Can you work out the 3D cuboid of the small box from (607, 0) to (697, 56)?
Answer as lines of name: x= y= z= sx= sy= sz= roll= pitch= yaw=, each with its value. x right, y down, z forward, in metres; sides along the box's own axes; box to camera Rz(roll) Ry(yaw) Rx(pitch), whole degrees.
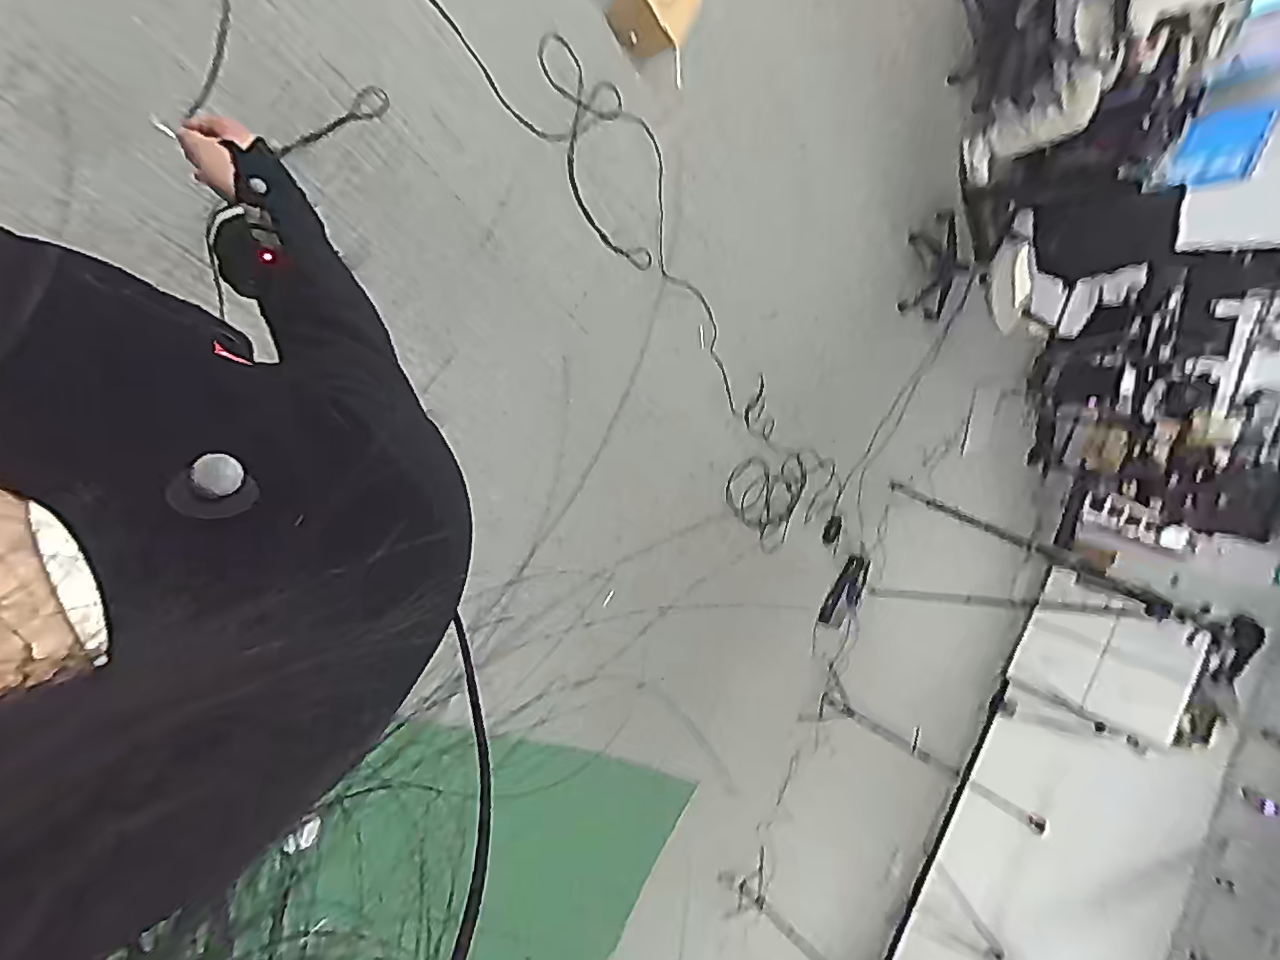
small box: x=0.035 y=-1.364 z=1.532 sx=0.168 sy=0.176 sz=0.179 roll=27 pitch=86 yaw=-45
